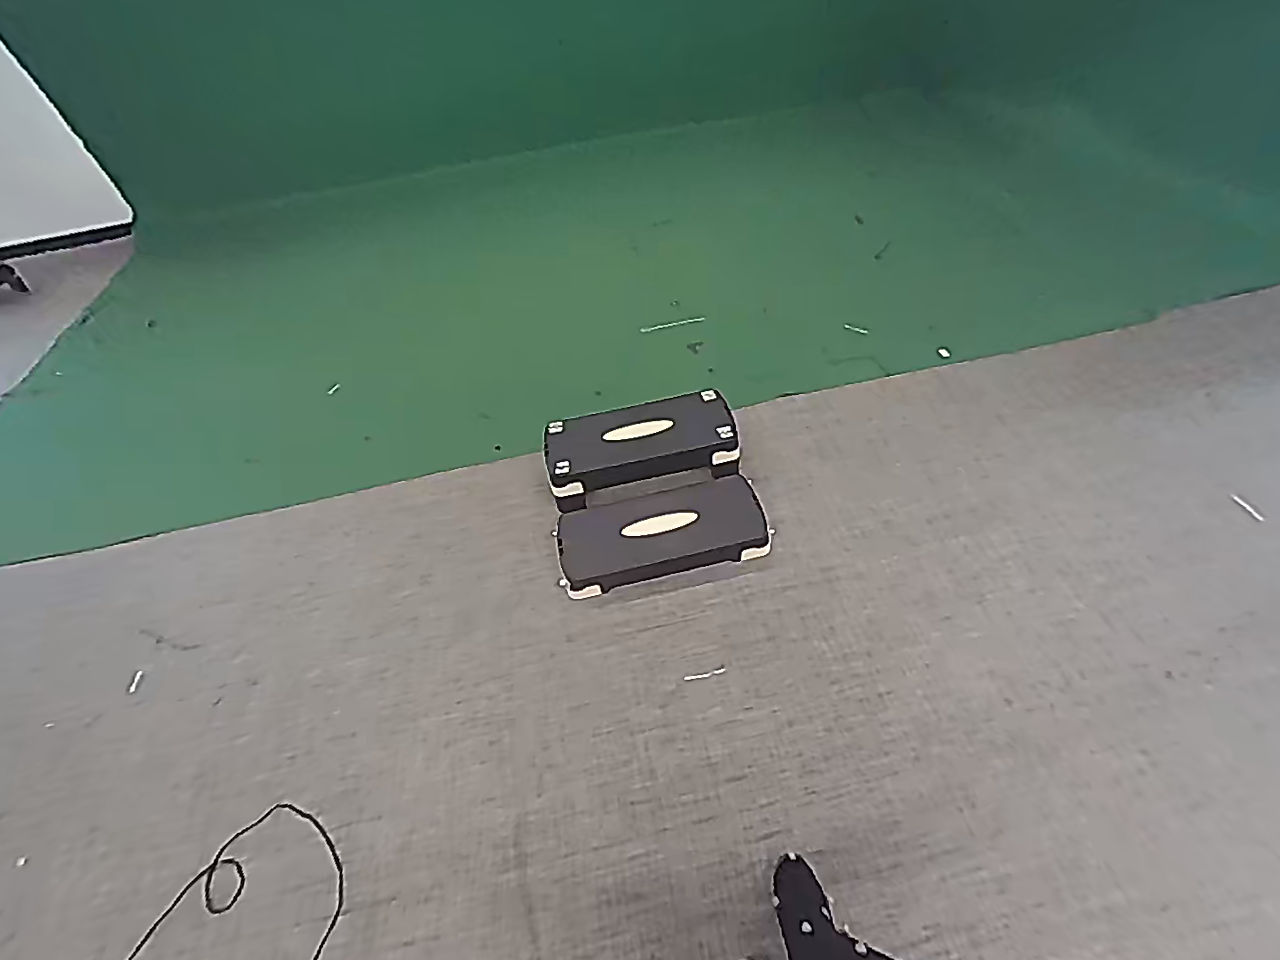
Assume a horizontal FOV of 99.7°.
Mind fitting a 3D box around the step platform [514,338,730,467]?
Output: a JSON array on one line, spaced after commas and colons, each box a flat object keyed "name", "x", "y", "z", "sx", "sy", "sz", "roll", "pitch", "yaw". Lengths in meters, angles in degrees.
[{"name": "step platform", "x": -0.056, "y": -0.258, "z": 1.797, "sx": 0.684, "sy": 0.204, "sz": 0.286, "roll": -13, "pitch": 50, "yaw": -3}]
